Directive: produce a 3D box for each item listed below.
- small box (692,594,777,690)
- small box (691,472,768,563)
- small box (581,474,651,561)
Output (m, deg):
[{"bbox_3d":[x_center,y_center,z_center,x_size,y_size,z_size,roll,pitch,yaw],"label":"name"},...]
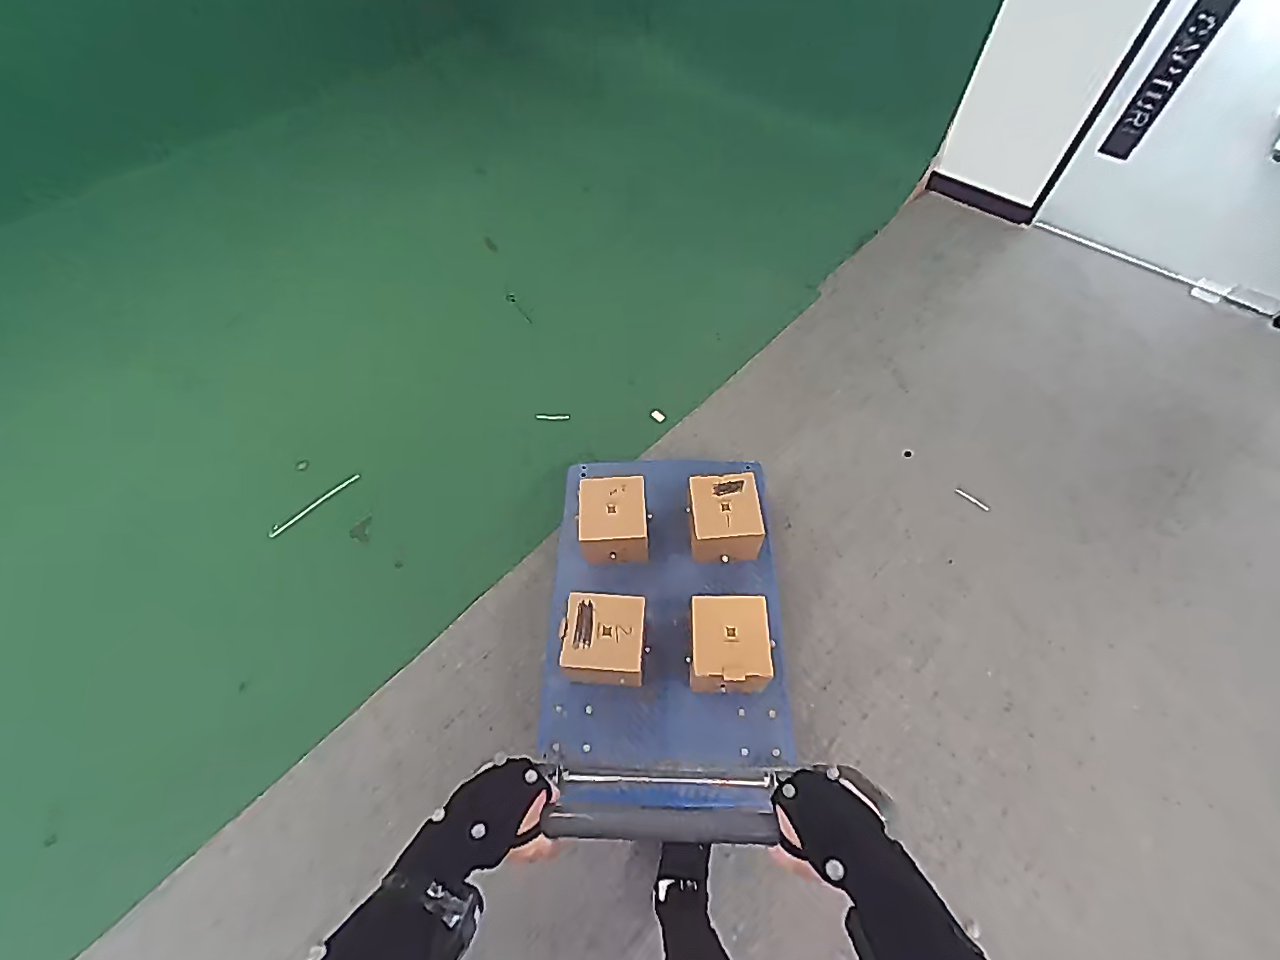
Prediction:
[{"bbox_3d":[0.206,0.371,1.231,0.168,0.176,0.179,0,60,2],"label":"small box"},{"bbox_3d":[0.222,0.098,1.390,0.168,0.176,0.179,-4,60,1],"label":"small box"},{"bbox_3d":[-0.058,0.104,1.398,0.168,0.176,0.179,-2,59,0],"label":"small box"}]
